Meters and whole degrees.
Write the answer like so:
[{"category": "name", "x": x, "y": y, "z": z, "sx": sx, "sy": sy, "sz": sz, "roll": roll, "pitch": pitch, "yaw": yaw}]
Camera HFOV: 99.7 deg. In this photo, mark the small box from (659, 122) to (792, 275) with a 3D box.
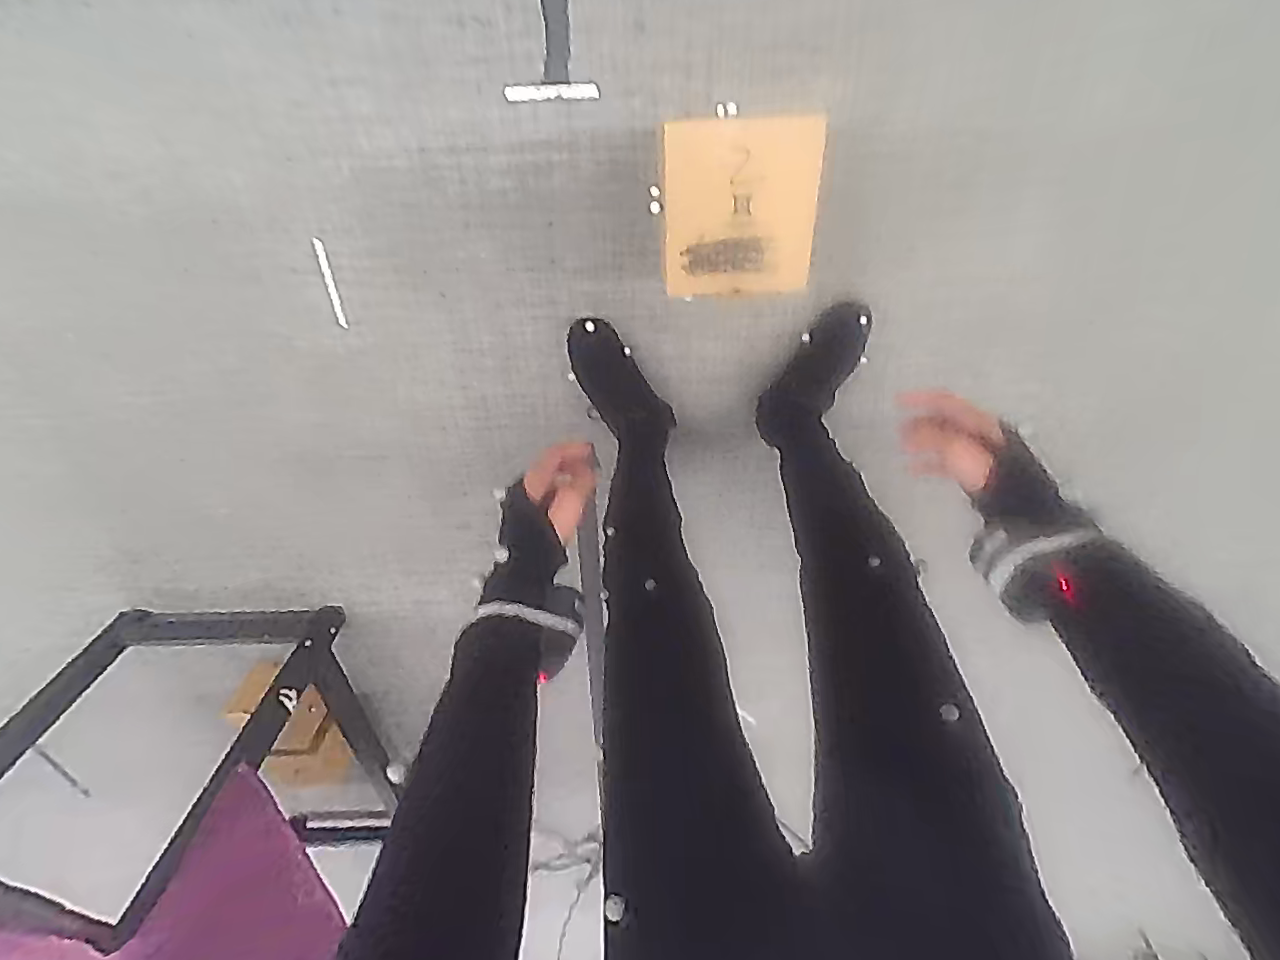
[{"category": "small box", "x": 0.115, "y": -0.415, "z": 0.793, "sx": 0.168, "sy": 0.176, "sz": 0.179, "roll": -4, "pitch": 125, "yaw": 3}]
